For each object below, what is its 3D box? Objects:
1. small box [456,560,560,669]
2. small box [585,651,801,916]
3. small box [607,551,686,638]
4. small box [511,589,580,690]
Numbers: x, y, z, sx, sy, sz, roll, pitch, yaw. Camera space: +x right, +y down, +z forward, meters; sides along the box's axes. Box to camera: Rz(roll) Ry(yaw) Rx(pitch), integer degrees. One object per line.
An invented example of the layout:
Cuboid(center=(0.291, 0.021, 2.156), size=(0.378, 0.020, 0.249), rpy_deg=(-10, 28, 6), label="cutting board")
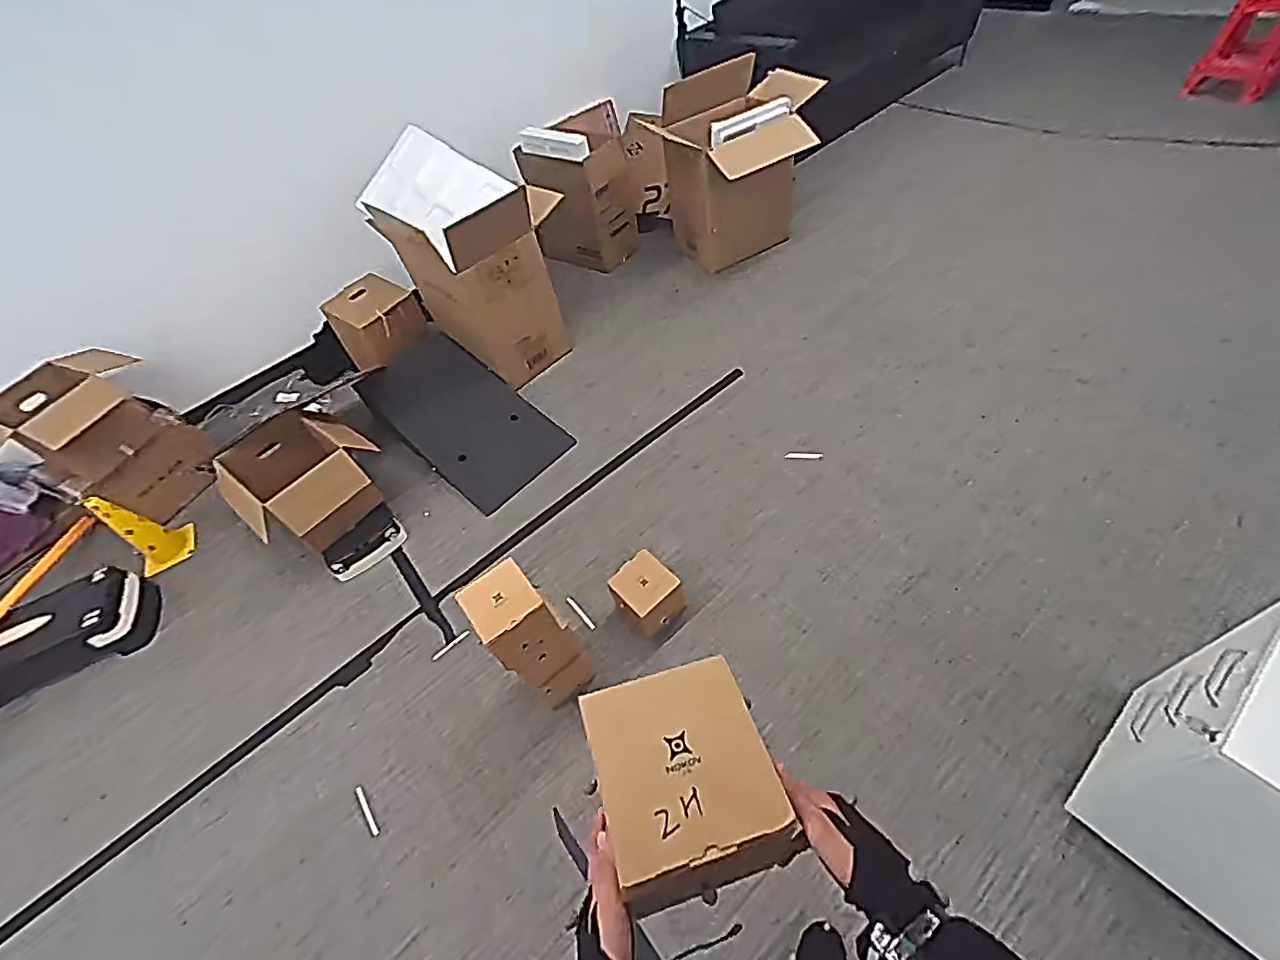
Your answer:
Cuboid(center=(-0.329, 0.343, 1.367), size=(0.168, 0.176, 0.179), rpy_deg=(-36, 54, -18), label="small box")
Cuboid(center=(0.043, 0.317, 0.572), size=(0.168, 0.176, 0.179), rpy_deg=(-13, 44, -10), label="small box")
Cuboid(center=(0.024, 0.364, 1.707), size=(0.168, 0.176, 0.179), rpy_deg=(-40, 55, -18), label="small box")
Cuboid(center=(-0.291, 0.443, 1.490), size=(0.179, 0.176, 0.168), rpy_deg=(-37, 53, -19), label="small box")
